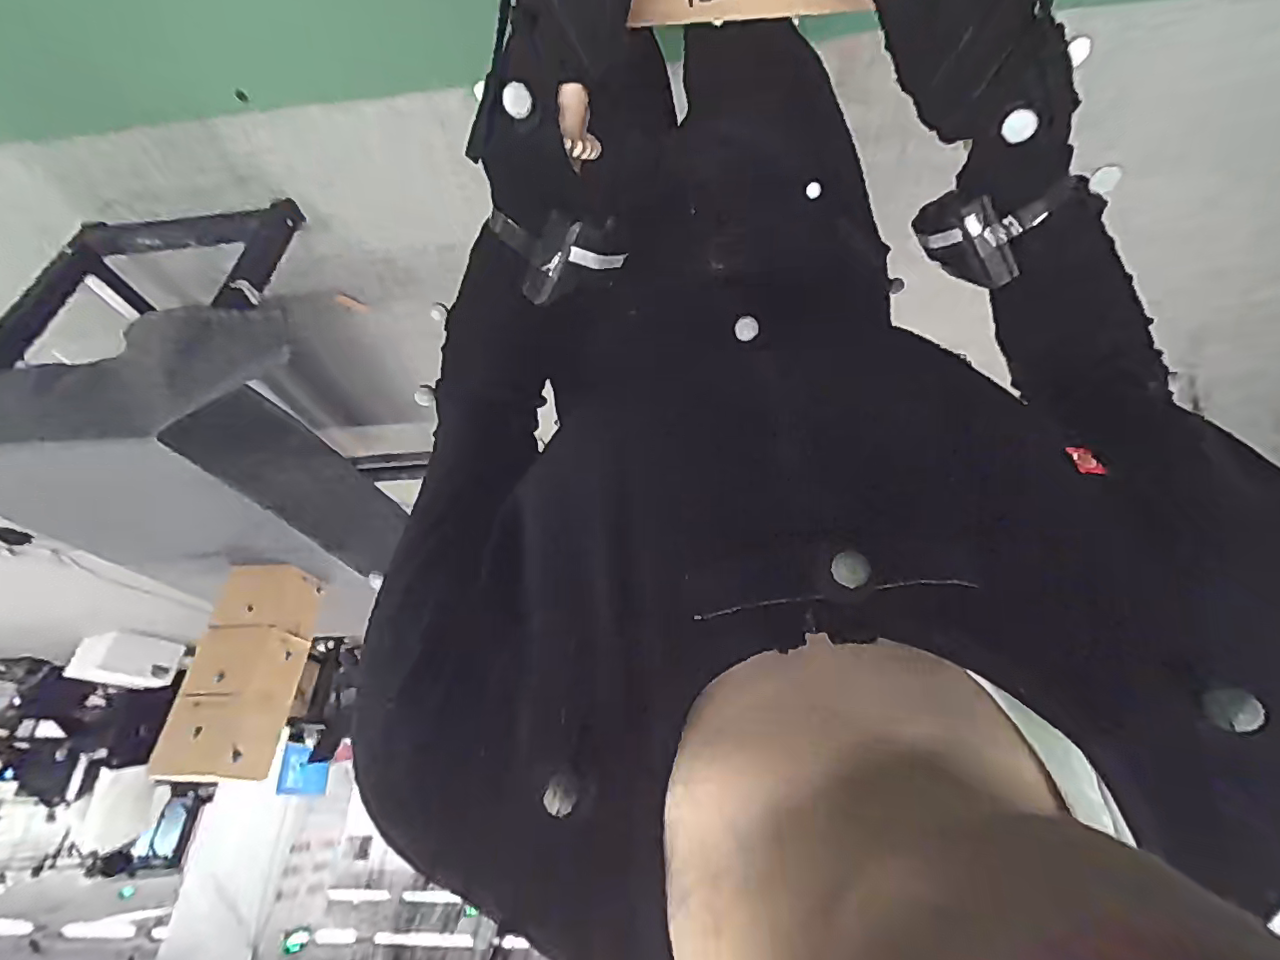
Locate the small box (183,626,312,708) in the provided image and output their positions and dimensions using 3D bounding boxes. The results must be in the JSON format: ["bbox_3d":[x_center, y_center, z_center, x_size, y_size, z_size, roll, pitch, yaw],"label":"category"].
[{"bbox_3d":[-0.980,0.475,1.370,0.179,0.176,0.168,-3,148,6],"label":"small box"}]

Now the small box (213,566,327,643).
[{"bbox_3d":[-0.980,0.338,1.456,0.179,0.176,0.168,-3,148,7],"label":"small box"}]

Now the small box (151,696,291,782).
[{"bbox_3d":[-0.979,0.614,1.281,0.168,0.176,0.179,-2,148,5],"label":"small box"}]
